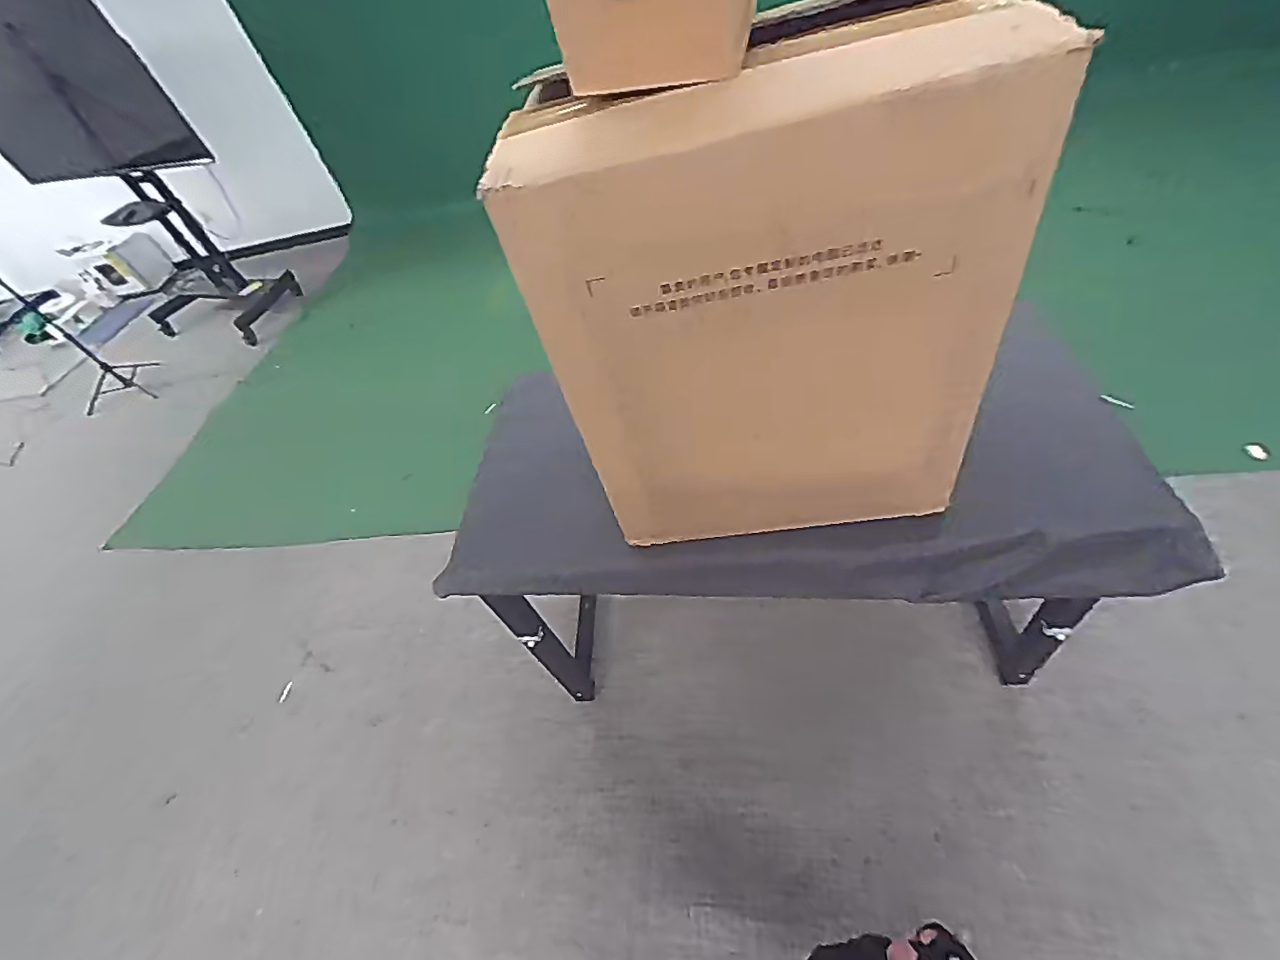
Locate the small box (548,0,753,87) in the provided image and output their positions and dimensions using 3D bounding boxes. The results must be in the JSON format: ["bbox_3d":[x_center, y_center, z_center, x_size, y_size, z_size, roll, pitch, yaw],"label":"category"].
[{"bbox_3d":[0.007,-0.509,0.514,0.179,0.176,0.168,5,64,17],"label":"small box"}]
